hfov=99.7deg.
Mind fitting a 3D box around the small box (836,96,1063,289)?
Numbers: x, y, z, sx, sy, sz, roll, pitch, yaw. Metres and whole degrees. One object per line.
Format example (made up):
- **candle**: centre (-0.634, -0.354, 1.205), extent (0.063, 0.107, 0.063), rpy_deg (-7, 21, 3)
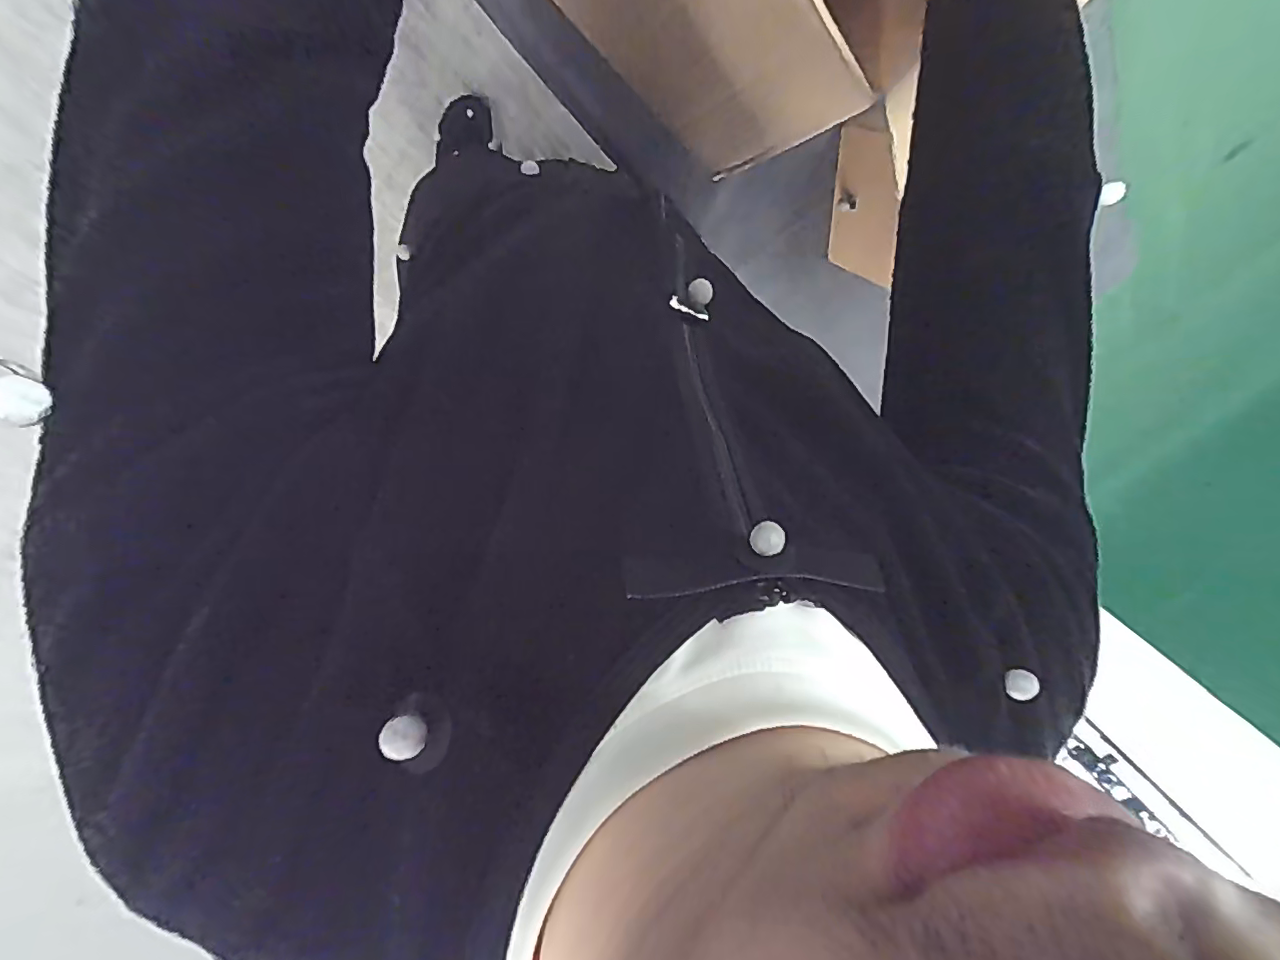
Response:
- **small box**: centre (0.377, -0.375, 0.699), extent (0.168, 0.176, 0.179), rpy_deg (-15, 131, -8)
